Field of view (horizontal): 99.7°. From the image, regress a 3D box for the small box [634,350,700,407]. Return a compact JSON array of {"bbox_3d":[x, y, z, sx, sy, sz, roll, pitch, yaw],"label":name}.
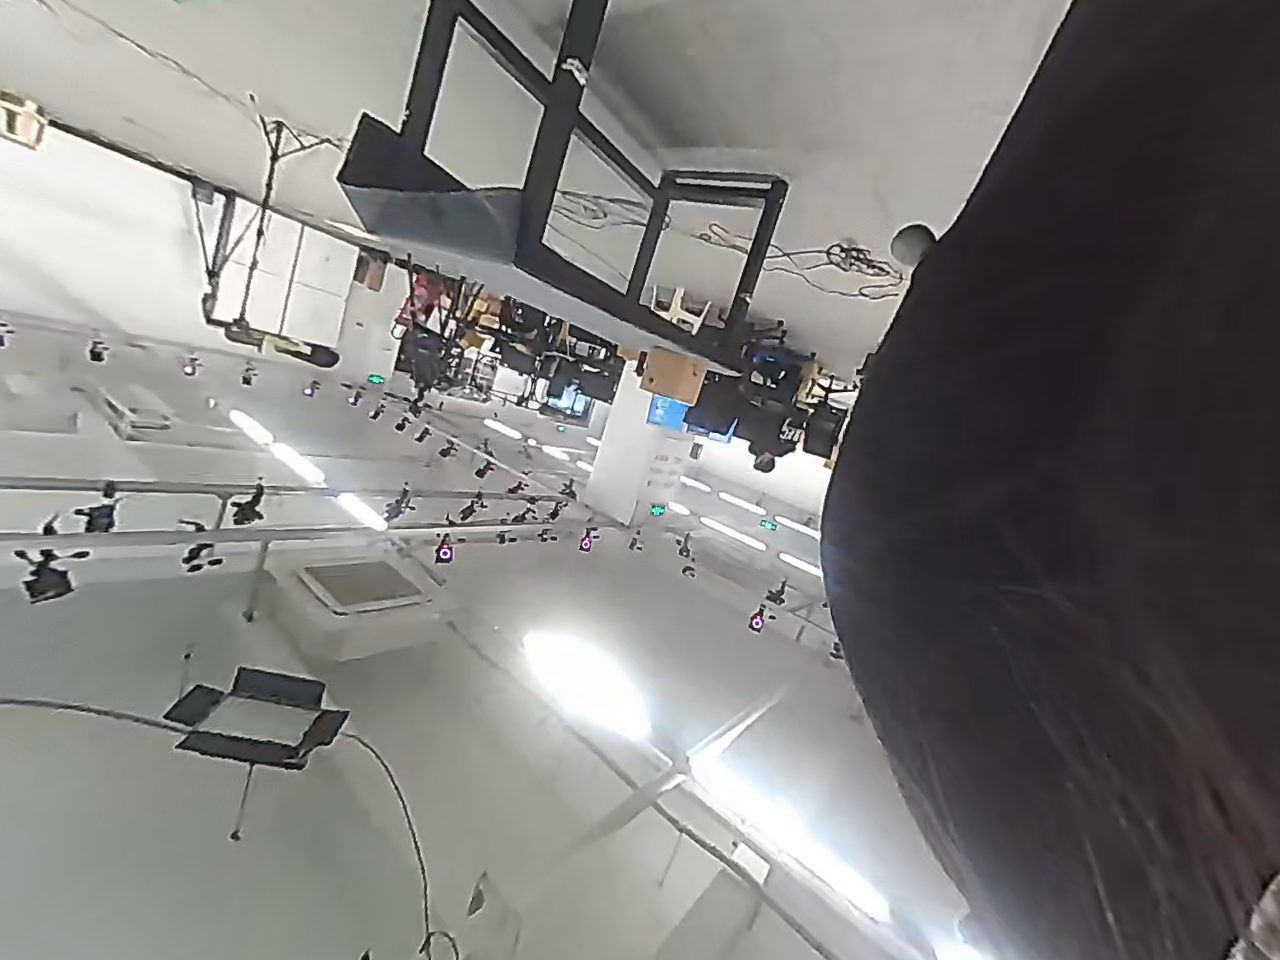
[{"bbox_3d":[0.109,-0.402,2.118,0.179,0.176,0.168,24,-170,32],"label":"small box"}]
